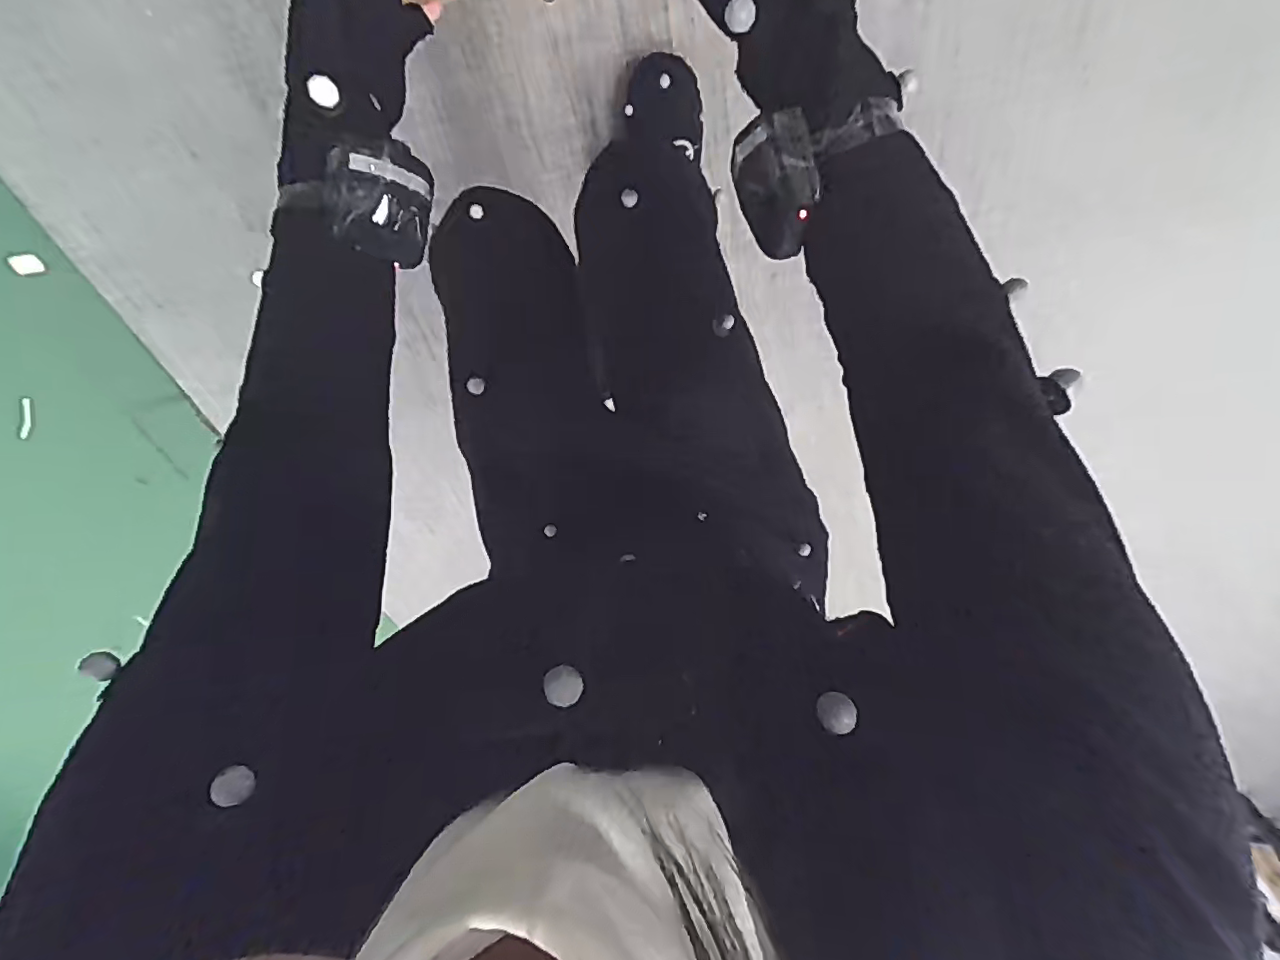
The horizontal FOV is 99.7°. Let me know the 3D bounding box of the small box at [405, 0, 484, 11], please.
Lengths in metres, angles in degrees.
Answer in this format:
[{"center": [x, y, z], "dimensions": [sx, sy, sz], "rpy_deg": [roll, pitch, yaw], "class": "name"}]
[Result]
[{"center": [-0.089, -0.438, 0.356], "dimensions": [0.179, 0.176, 0.168], "rpy_deg": [-11, 131, 5], "class": "small box"}]
